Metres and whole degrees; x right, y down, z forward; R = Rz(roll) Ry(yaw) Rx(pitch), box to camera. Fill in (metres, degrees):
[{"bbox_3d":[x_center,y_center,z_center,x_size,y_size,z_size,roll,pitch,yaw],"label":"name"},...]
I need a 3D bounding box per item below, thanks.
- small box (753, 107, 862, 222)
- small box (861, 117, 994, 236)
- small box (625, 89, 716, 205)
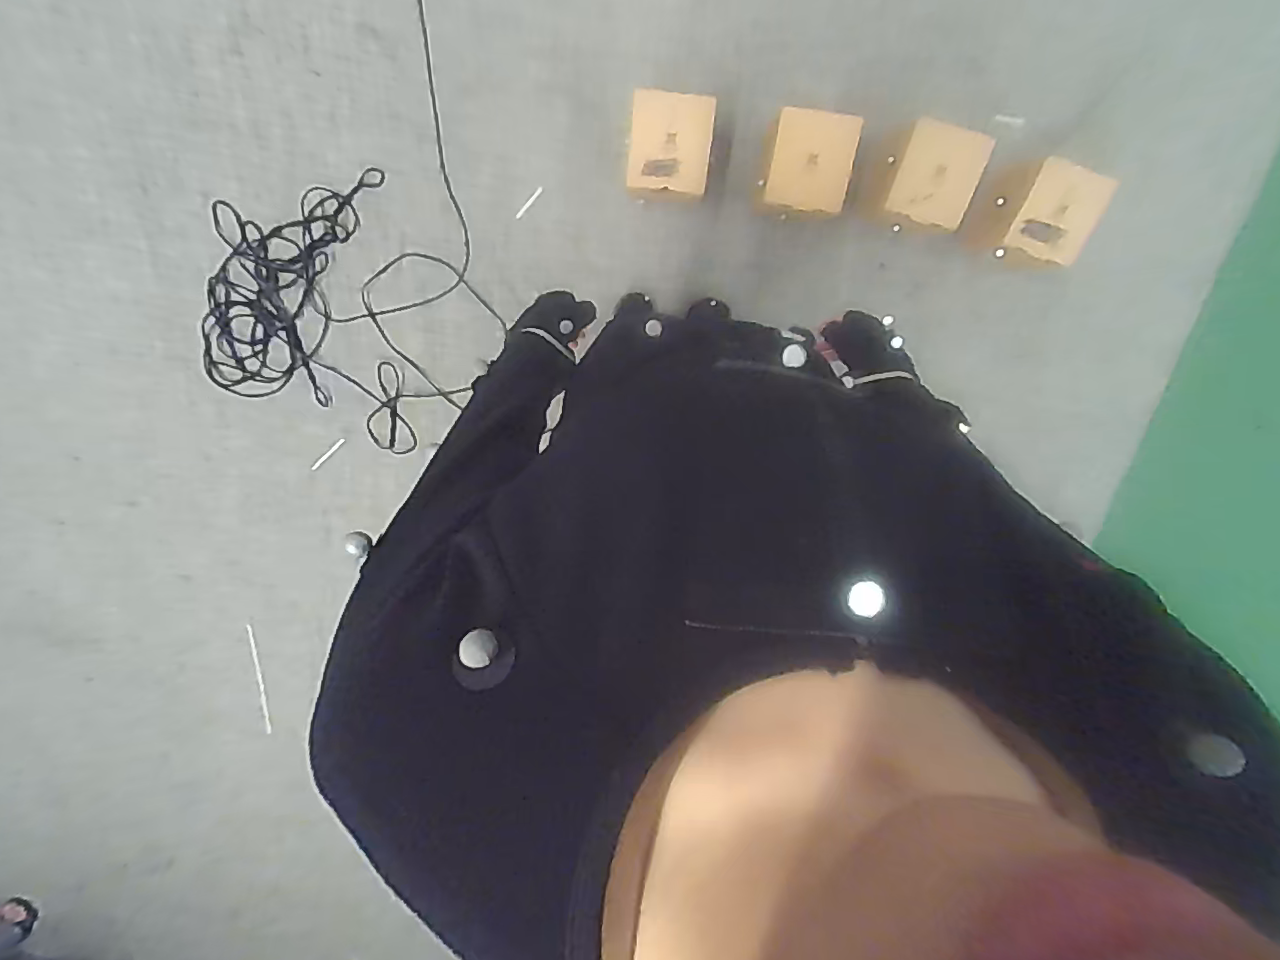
[{"bbox_3d":[0.351,-0.671,1.170,0.168,0.176,0.179,8,111,-1],"label":"small box"},{"bbox_3d":[0.607,-0.645,1.170,0.168,0.176,0.179,15,111,-3],"label":"small box"},{"bbox_3d":[0.063,-0.706,1.165,0.168,0.176,0.179,7,110,-1],"label":"small box"}]
